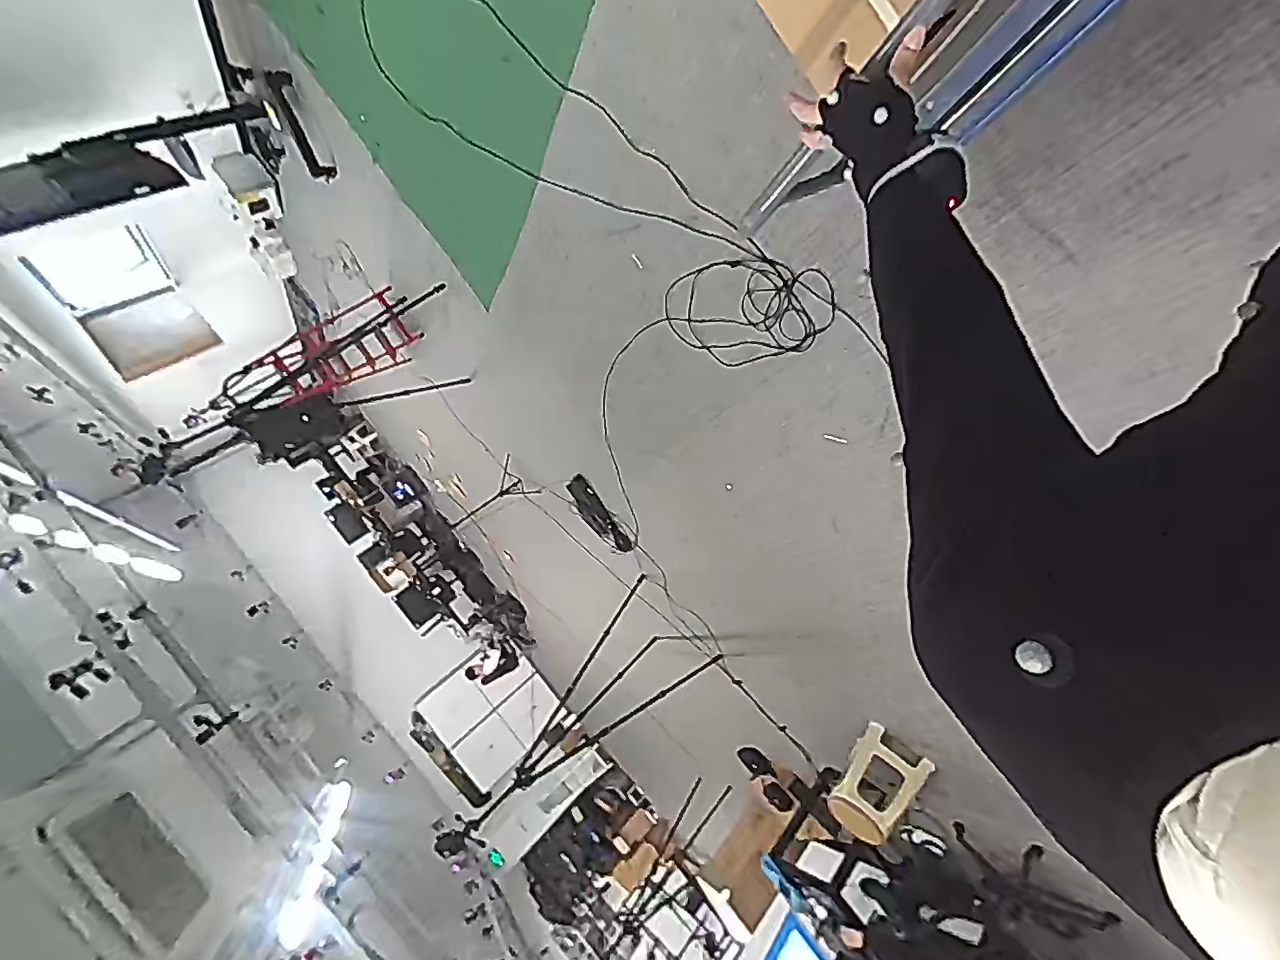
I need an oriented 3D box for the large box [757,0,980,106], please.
[{"bbox_3d":[0.407,-0.961,0.929,0.408,0.320,0.320,54,151,-3],"label":"large box"}]
